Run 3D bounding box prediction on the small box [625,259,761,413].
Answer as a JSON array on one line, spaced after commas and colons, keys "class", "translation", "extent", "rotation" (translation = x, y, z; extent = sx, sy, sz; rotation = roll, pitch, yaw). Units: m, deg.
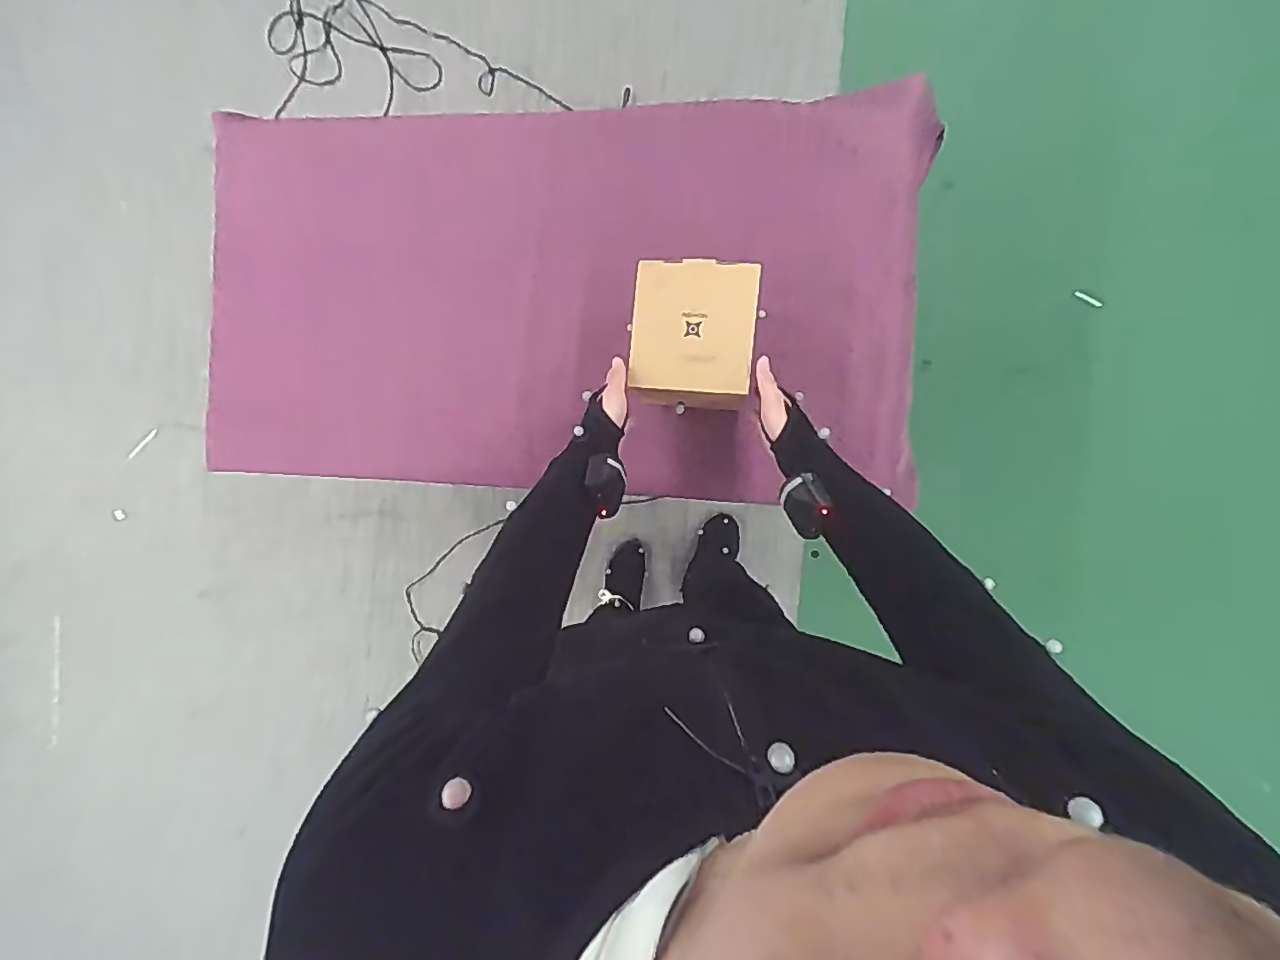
[{"class": "small box", "translation": [0.079, -0.202, 0.793], "extent": [0.168, 0.176, 0.179], "rotation": [6, 91, 9]}]
